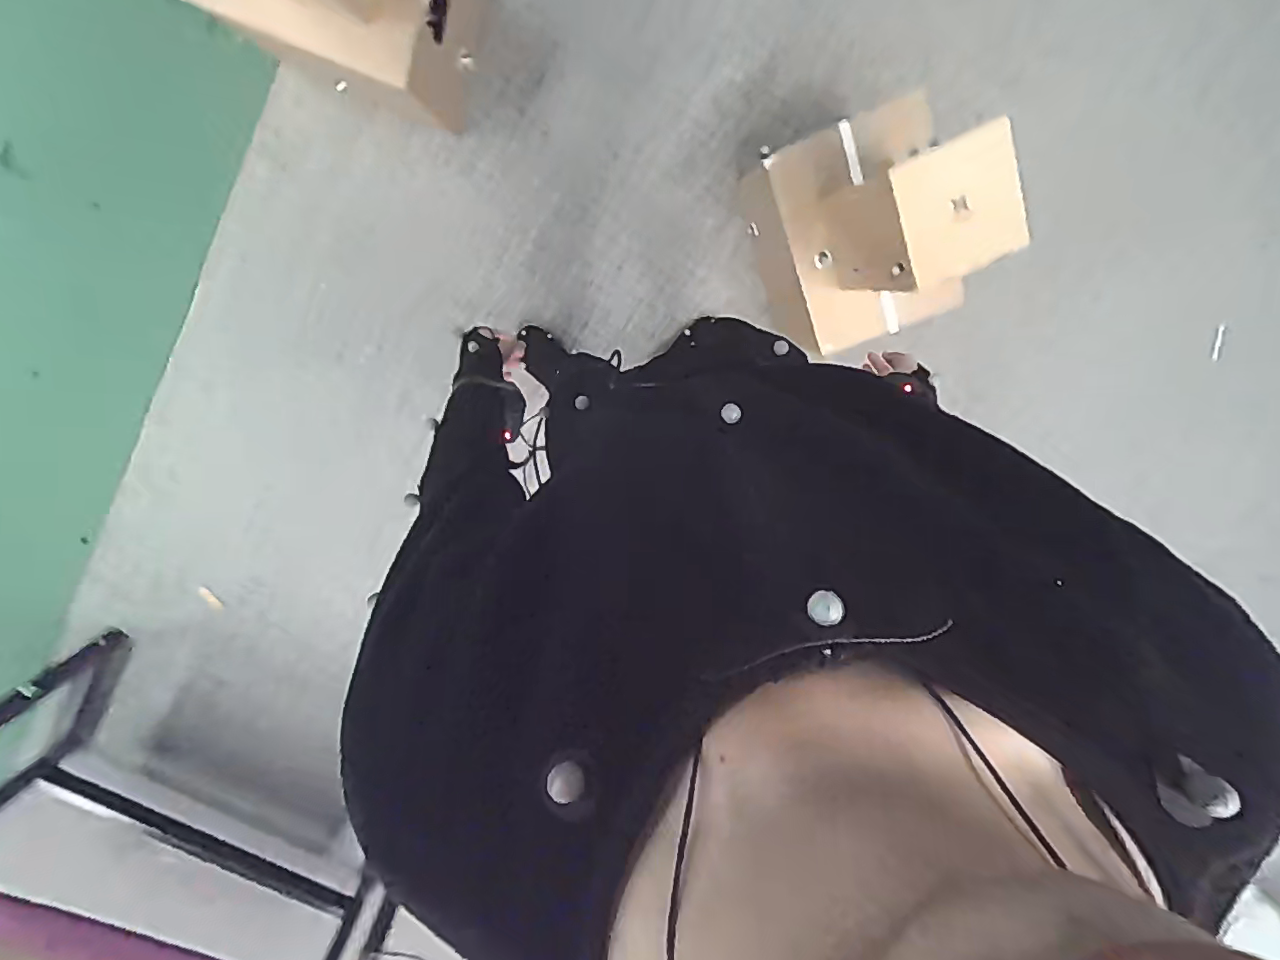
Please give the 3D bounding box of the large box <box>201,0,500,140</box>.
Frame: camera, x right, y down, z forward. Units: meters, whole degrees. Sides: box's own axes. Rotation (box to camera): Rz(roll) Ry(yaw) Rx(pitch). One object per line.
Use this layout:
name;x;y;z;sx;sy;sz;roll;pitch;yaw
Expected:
large box;-0.541;-0.949;1.075;0.408;0.320;0.320;20;106;-5

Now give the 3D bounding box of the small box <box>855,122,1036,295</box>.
small box;0.453;-0.396;0.825;0.168;0.176;0.179;-22;108;7

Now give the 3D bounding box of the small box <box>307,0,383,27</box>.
small box;-0.515;-0.865;0.845;0.179;0.176;0.168;23;108;-8
